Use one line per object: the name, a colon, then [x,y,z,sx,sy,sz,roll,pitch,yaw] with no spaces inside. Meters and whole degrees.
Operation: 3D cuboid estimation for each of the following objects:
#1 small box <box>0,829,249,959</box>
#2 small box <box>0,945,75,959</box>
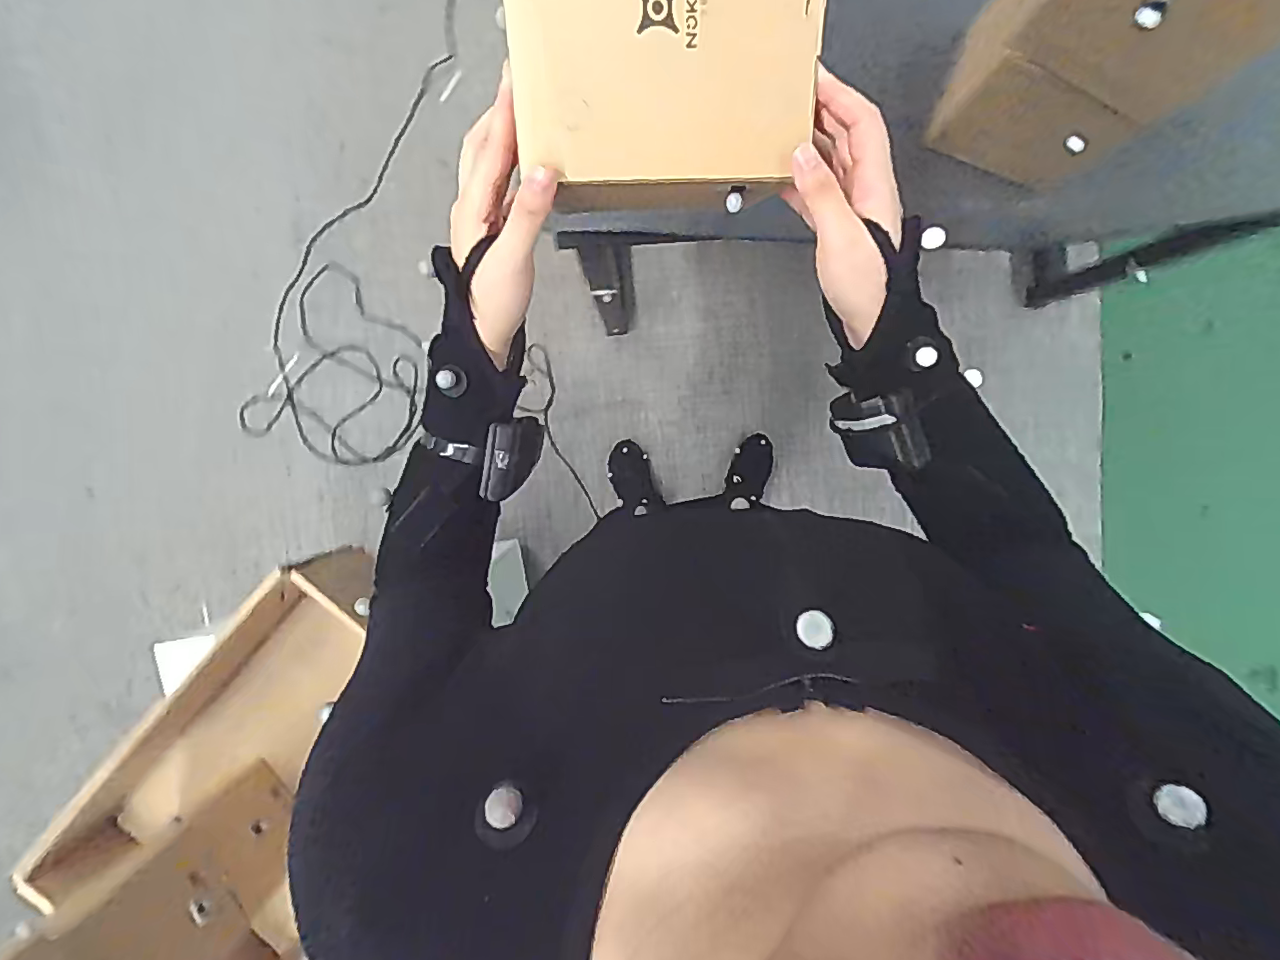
small box: [-0.638,0.581,0.654,0.179,0.176,0.168,-32,96,1]
small box: [-0.628,0.579,0.488,0.168,0.176,0.179,-35,96,3]
